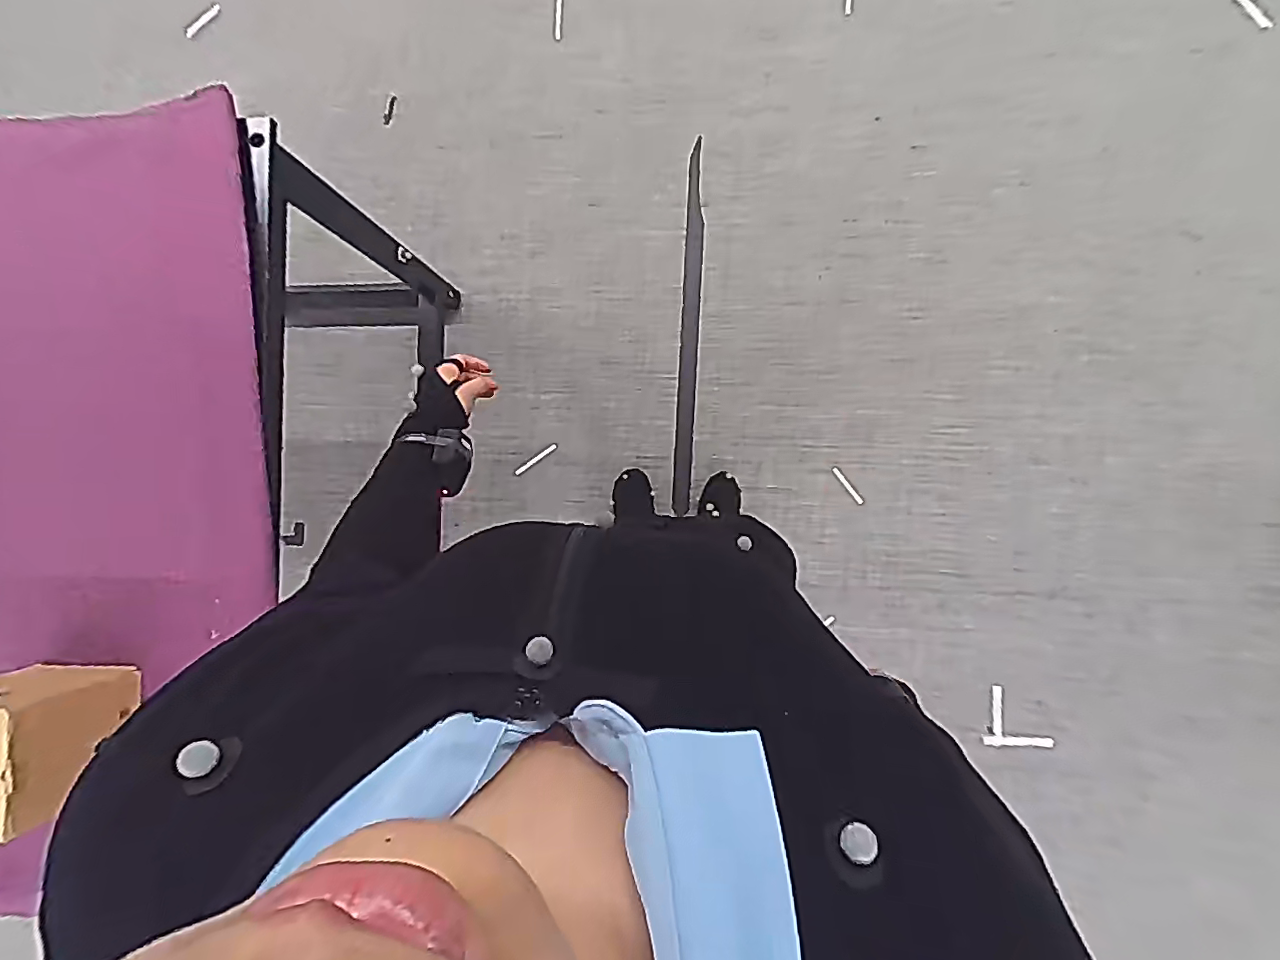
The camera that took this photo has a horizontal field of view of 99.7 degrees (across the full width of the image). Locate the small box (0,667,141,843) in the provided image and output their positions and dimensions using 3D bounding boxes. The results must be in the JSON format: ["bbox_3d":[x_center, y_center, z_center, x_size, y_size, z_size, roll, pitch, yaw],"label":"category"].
[{"bbox_3d":[-0.860,0.369,0.753,0.179,0.176,0.168,0,88,3],"label":"small box"}]
